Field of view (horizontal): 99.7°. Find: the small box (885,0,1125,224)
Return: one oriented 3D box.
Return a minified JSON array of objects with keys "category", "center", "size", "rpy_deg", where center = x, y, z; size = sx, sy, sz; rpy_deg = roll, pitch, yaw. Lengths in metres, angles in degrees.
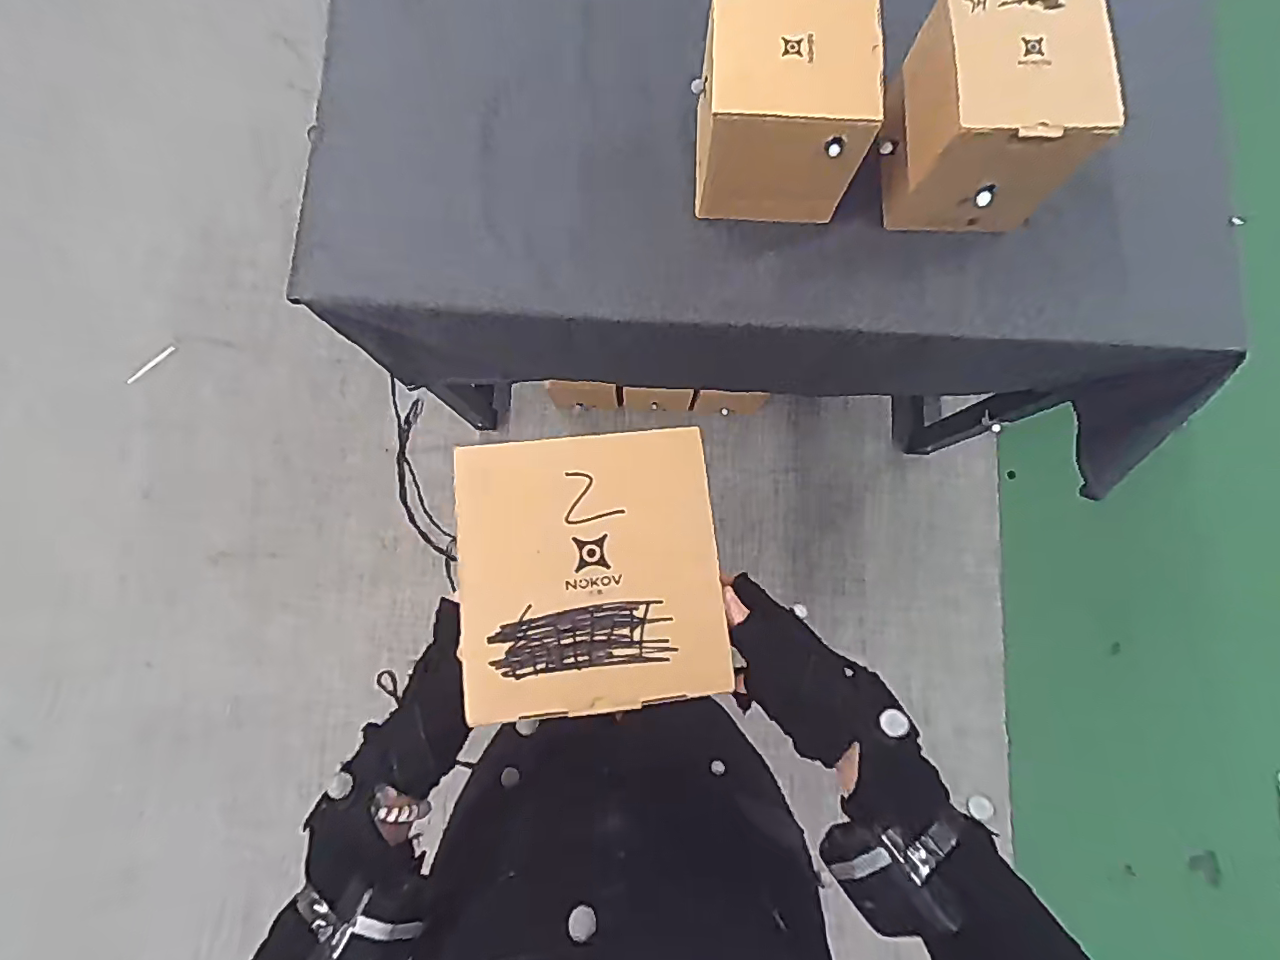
[{"category":"small box","center":[0.405,-0.425,0.630],"size":[0.168,0.176,0.179],"rpy_deg":[2,82,-1]}]
